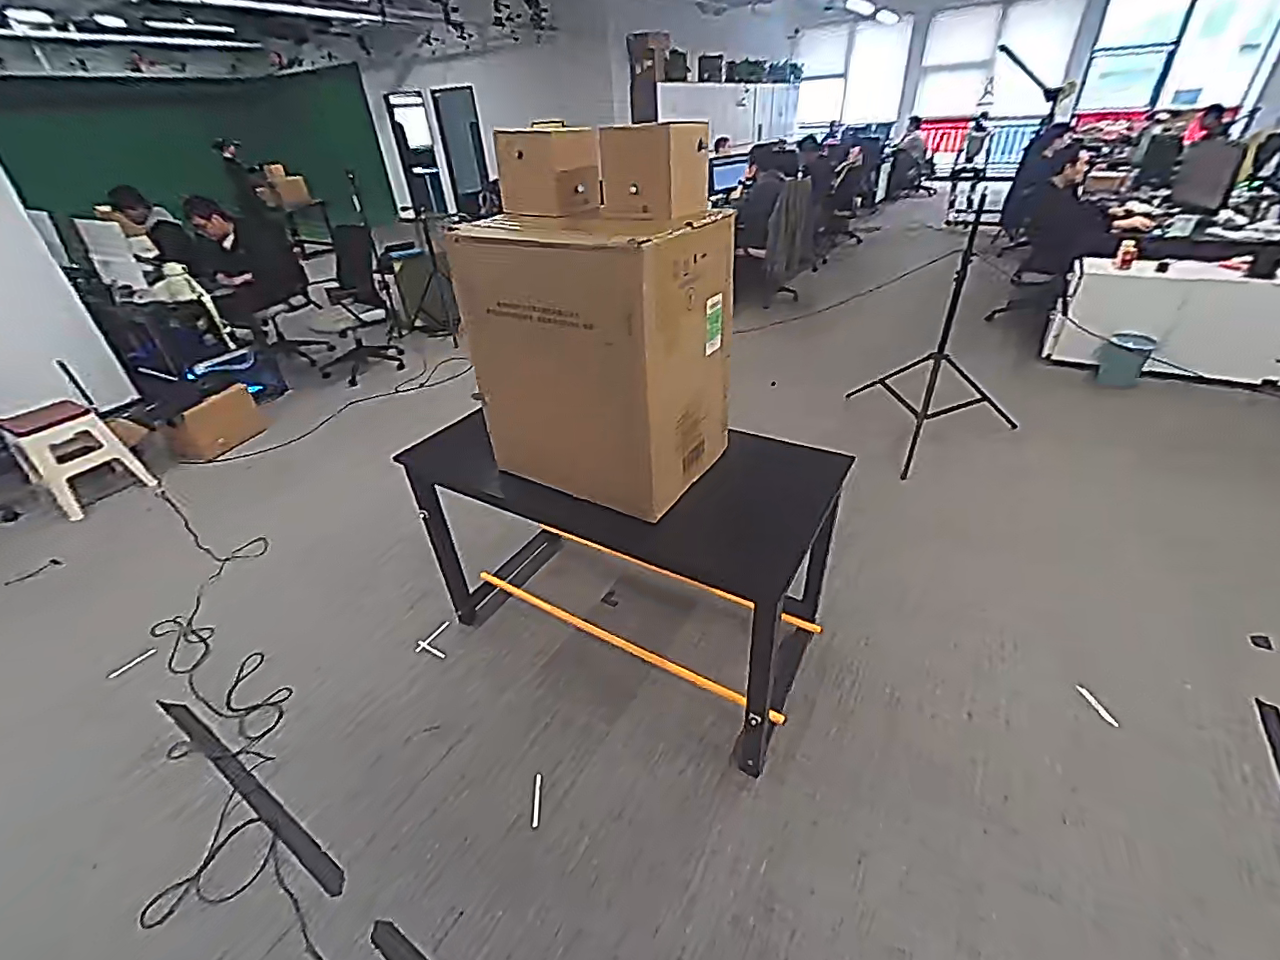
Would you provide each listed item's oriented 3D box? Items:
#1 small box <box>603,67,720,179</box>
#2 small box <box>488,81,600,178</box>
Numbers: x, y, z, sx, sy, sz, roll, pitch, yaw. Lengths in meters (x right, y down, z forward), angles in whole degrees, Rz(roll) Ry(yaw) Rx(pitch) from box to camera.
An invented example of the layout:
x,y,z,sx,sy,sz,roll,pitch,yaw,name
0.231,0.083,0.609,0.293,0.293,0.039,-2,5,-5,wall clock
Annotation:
x,y,z,sx,sy,sz,roll,pitch,yaw,name
0.045,-0.696,1.065,0.168,0.176,0.179,15,37,27,small box
-0.204,-0.765,1.189,0.179,0.176,0.168,19,39,27,small box
